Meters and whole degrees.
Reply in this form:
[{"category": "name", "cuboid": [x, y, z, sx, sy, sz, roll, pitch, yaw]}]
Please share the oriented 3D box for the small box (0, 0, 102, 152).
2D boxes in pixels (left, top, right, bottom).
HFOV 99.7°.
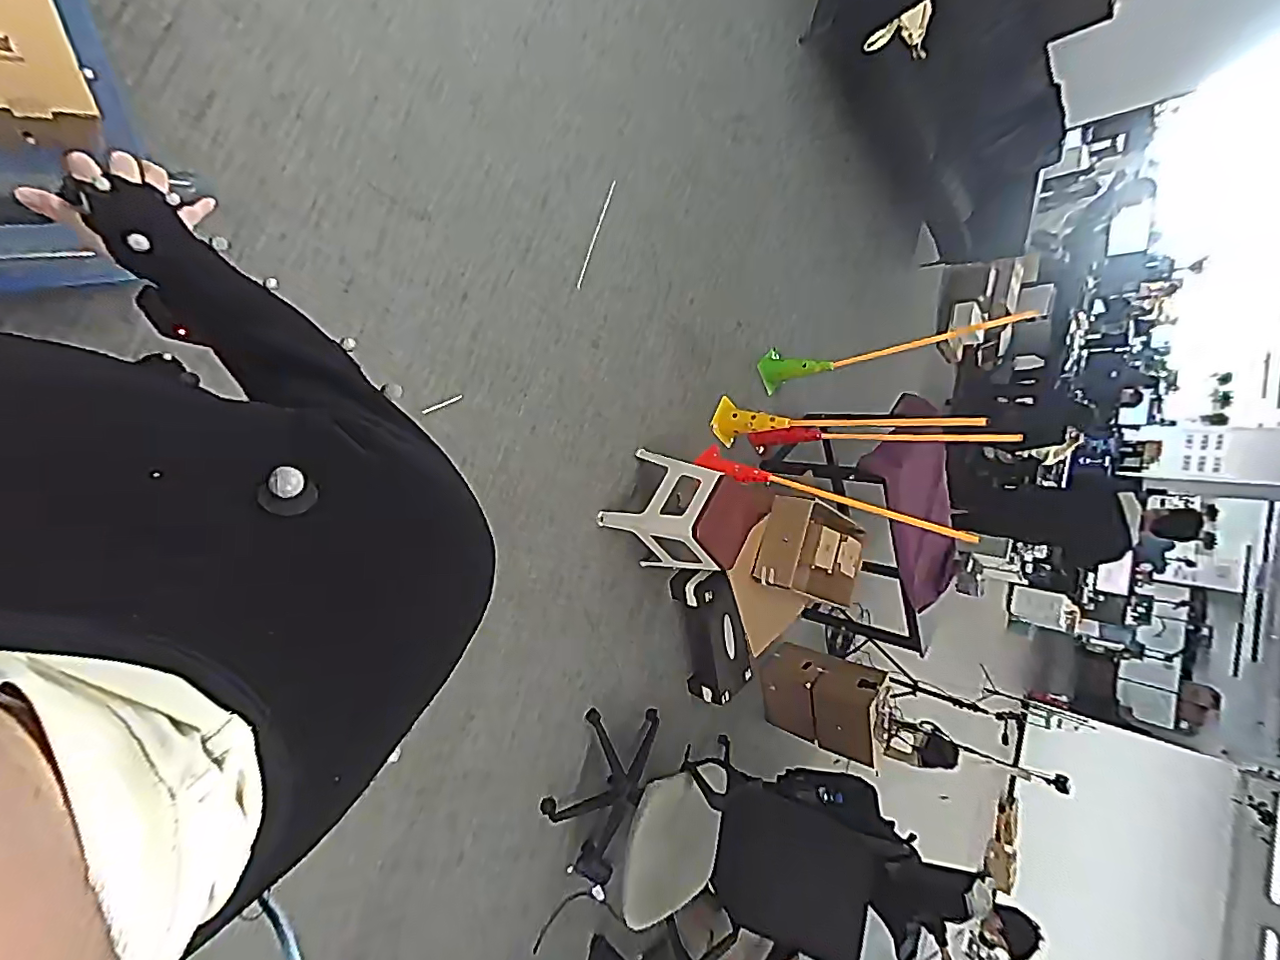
[{"category": "small box", "cuboid": [-1.029, -0.665, 0.884, 0.168, 0.176, 0.179, -26, 114, -39]}]
